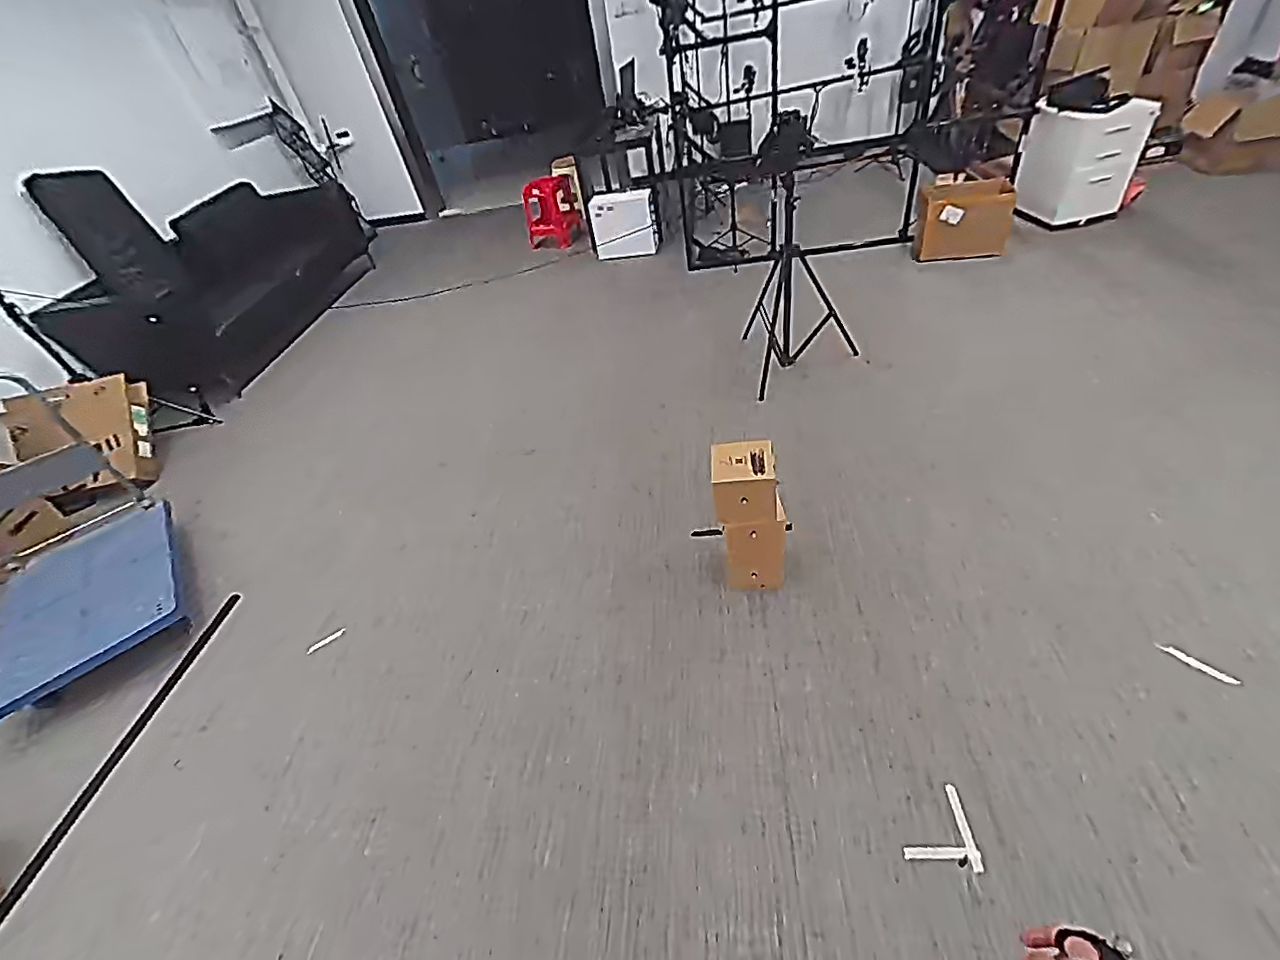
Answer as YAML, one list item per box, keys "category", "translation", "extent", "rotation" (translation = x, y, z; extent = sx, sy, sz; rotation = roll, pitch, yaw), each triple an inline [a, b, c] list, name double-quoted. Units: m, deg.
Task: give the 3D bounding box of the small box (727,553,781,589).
- category: "small box"
  translation: [0.377, 0.247, 1.787]
  extent: [0.168, 0.176, 0.179]
  rotation: [-2, 42, 11]

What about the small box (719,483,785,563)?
- category: "small box"
  translation: [0.344, 0.136, 1.673]
  extent: [0.179, 0.176, 0.168]
  rotation: [-9, 42, 6]
